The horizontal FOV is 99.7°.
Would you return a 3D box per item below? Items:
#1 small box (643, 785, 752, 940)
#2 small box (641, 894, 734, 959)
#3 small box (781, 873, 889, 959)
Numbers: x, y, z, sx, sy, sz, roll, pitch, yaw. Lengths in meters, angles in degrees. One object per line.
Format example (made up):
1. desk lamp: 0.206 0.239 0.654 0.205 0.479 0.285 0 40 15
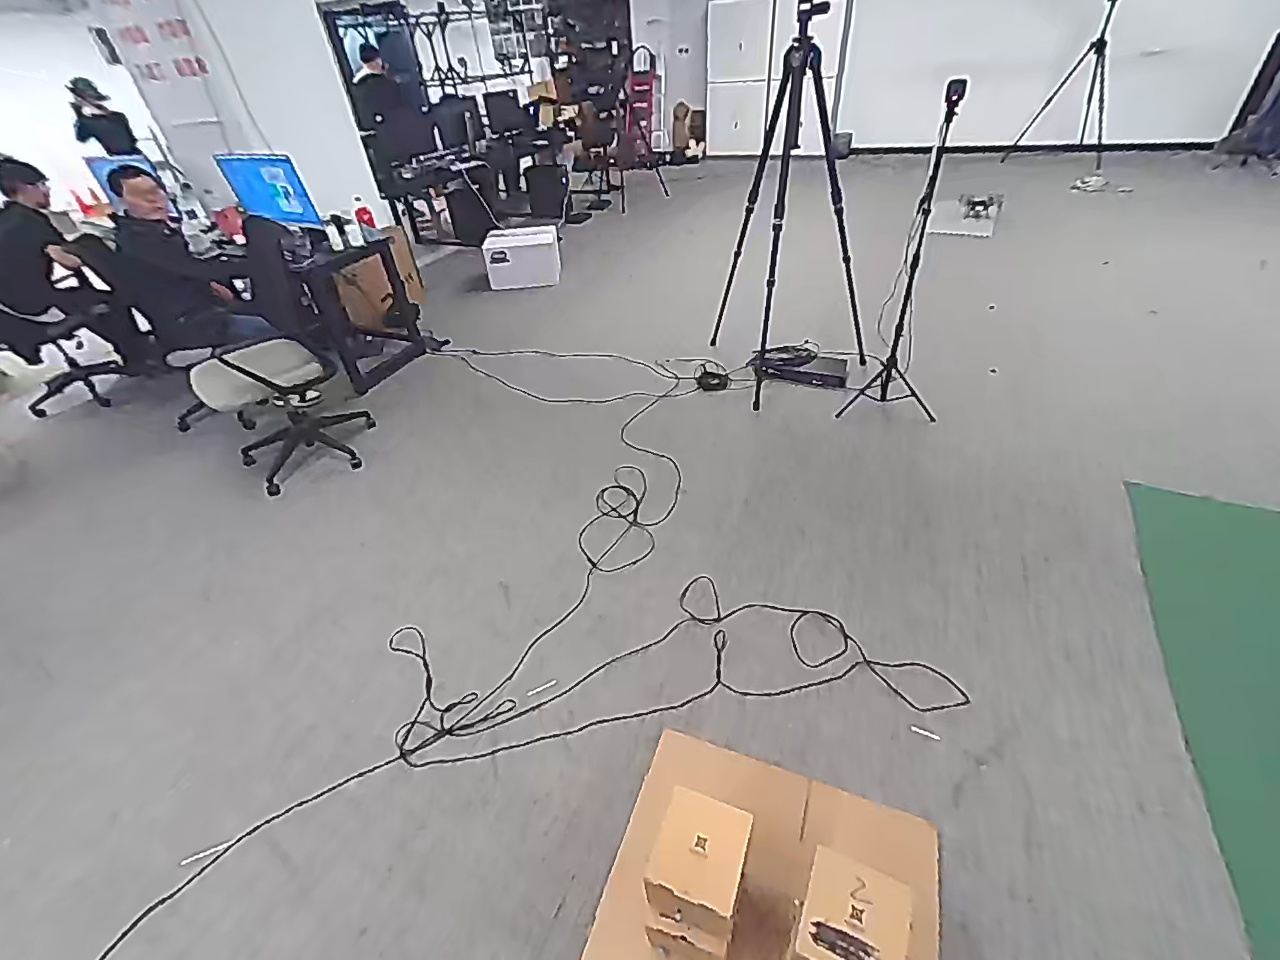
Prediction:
1. small box: 0.115 0.748 1.062 0.168 0.176 0.179 12 42 20
2. small box: 0.112 0.891 1.146 0.168 0.176 0.179 9 41 18
3. small box: 0.377 0.933 1.066 0.168 0.176 0.179 14 43 24
